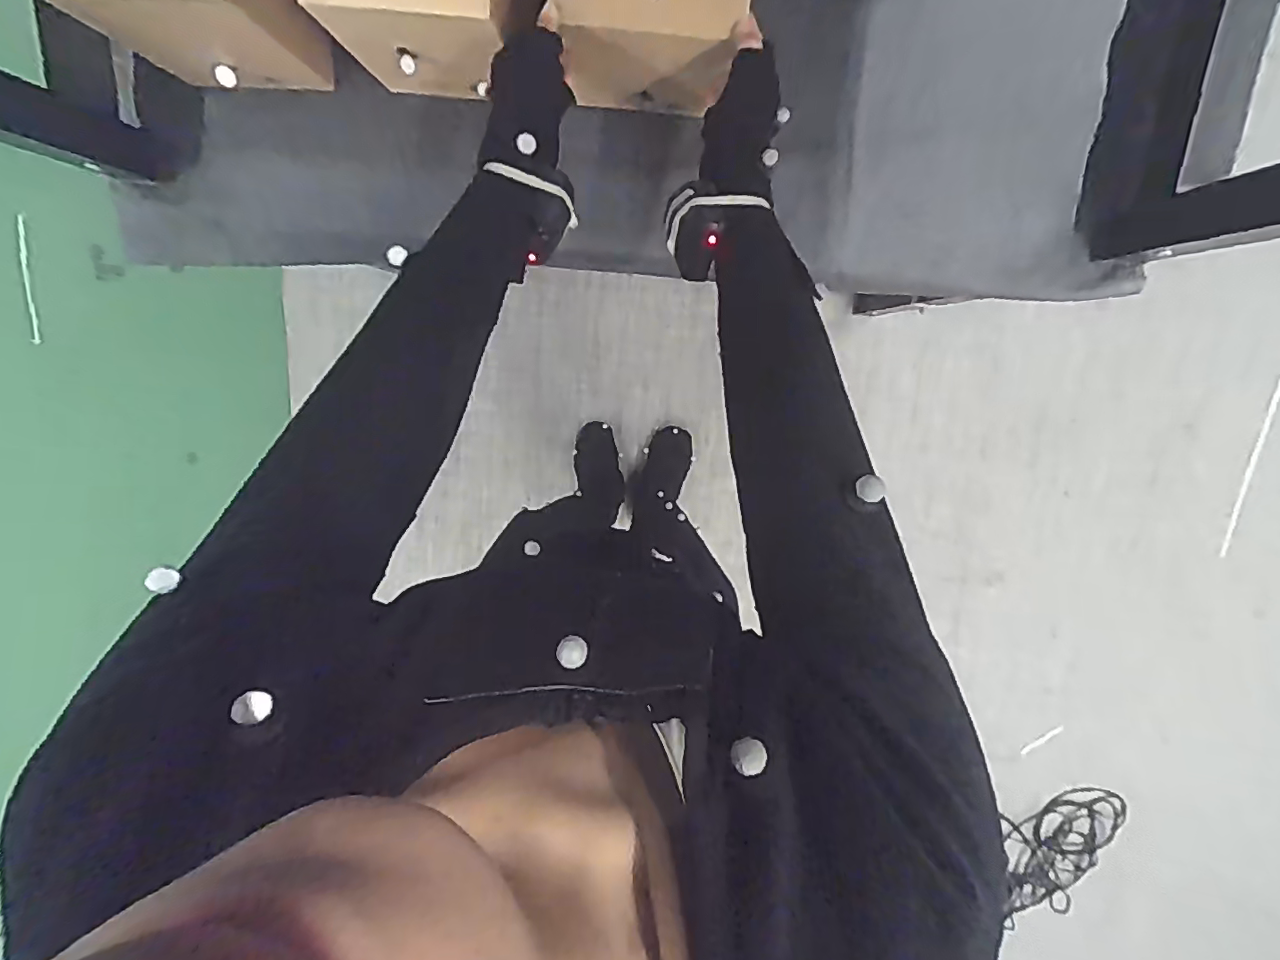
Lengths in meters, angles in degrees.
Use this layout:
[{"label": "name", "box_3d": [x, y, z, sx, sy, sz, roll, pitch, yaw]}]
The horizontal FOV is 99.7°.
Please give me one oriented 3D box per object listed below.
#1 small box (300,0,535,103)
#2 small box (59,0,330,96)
[{"label": "small box", "box_3d": [-0.196, -0.492, 0.511, 0.168, 0.176, 0.179, 5, 102, 0]}, {"label": "small box", "box_3d": [-0.423, -0.504, 0.511, 0.168, 0.176, 0.179, 3, 103, 1]}]
